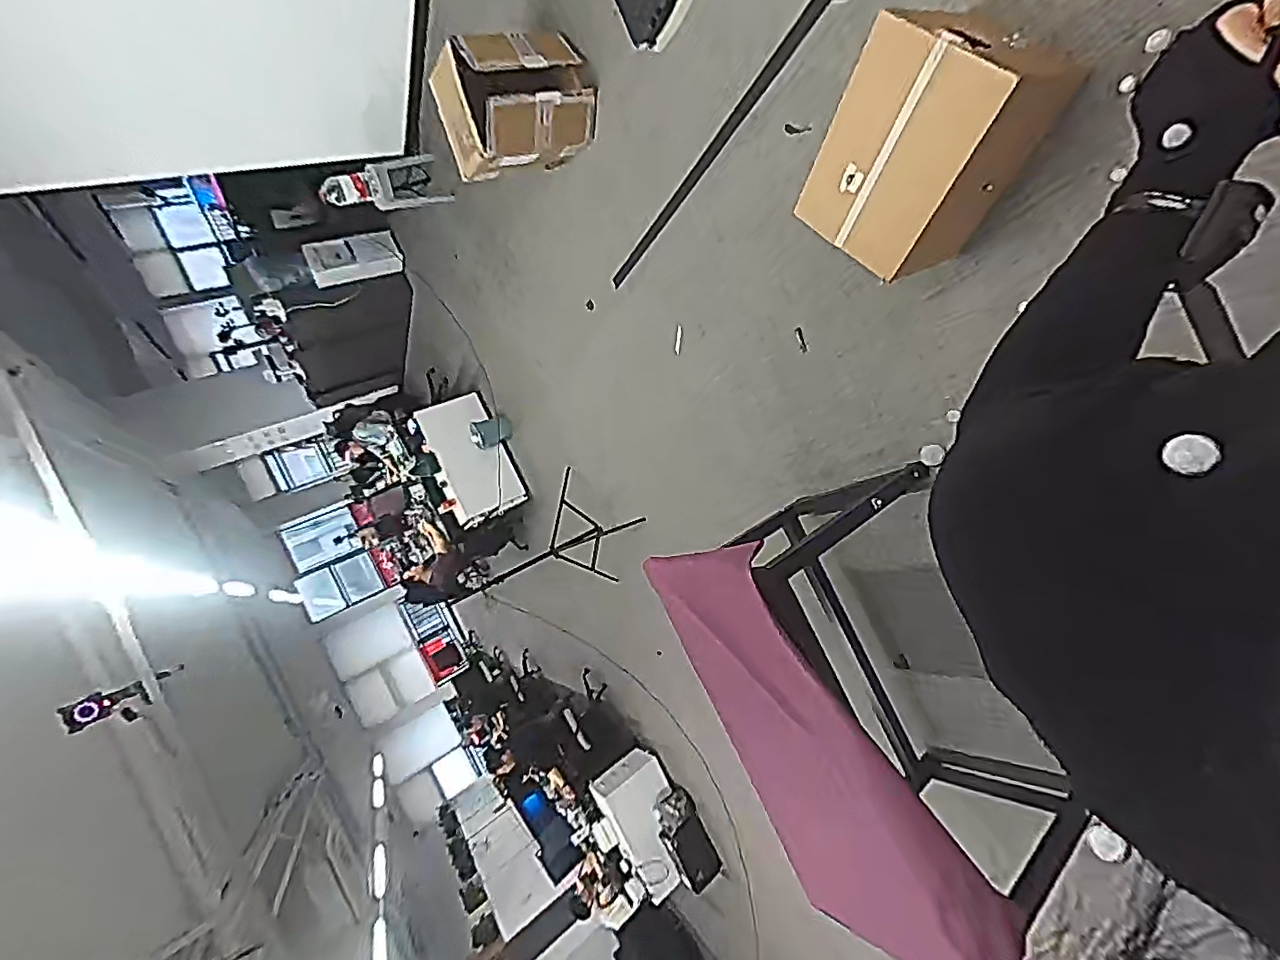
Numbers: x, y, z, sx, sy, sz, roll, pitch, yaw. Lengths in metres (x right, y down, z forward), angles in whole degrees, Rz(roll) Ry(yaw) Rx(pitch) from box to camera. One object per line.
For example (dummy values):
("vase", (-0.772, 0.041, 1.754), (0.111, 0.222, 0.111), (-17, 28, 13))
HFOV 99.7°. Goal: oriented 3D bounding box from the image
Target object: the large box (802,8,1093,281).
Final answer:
("large box", (0.633, -0.724, 1.174), (0.320, 0.320, 0.408), (51, 150, 24))
